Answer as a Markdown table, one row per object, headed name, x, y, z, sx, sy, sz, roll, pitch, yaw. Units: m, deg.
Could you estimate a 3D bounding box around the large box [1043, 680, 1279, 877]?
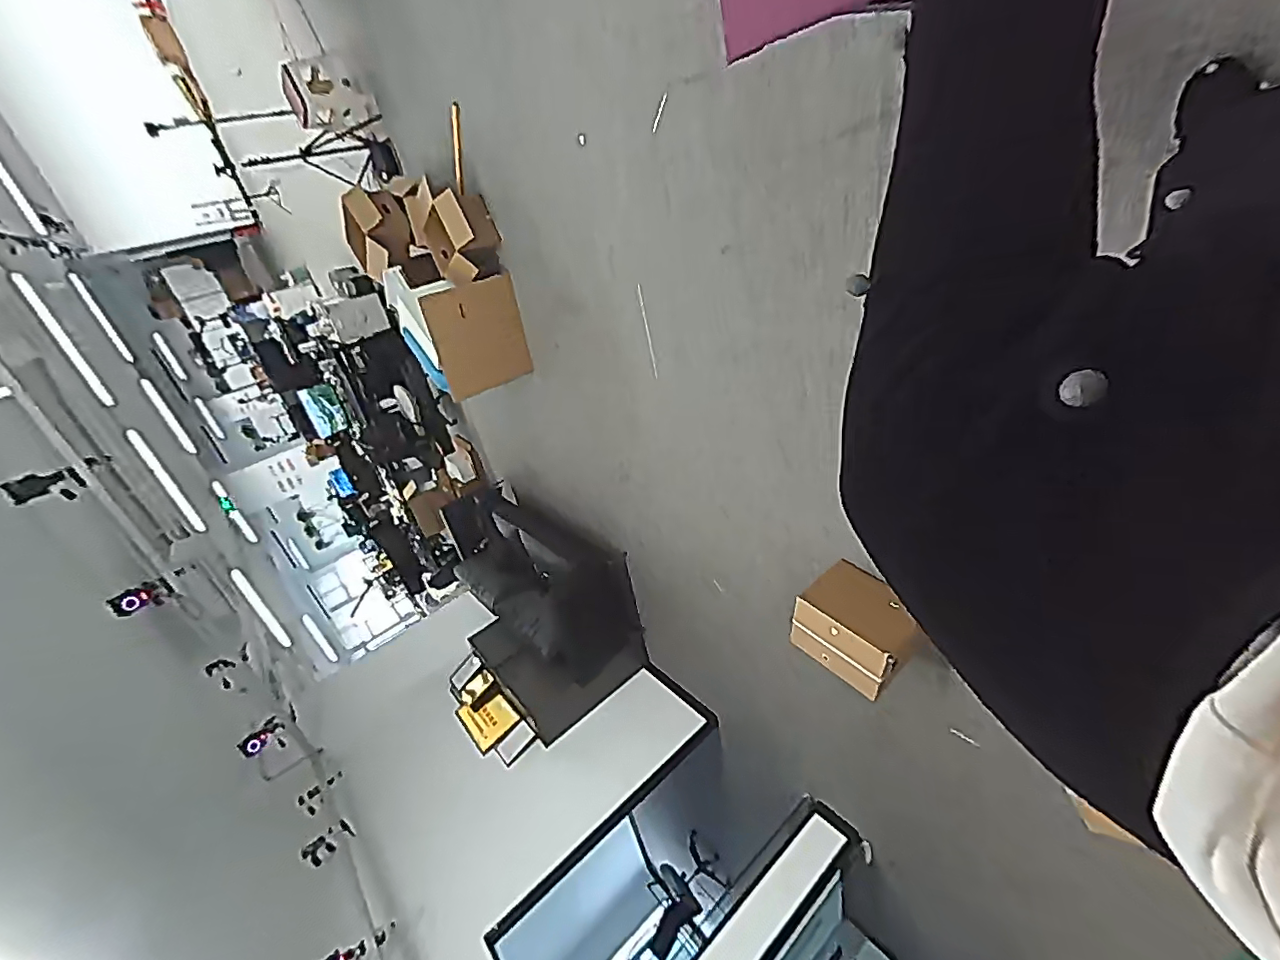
| name | x | y | z | sx | sy | sz | roll | pitch | yaw |
| --- | --- | --- | --- | --- | --- | --- | --- | --- | --- |
| large box | 1.481 | 0.801 | 1.532 | 0.320 | 0.320 | 0.408 | 59 | 150 | -1 |
